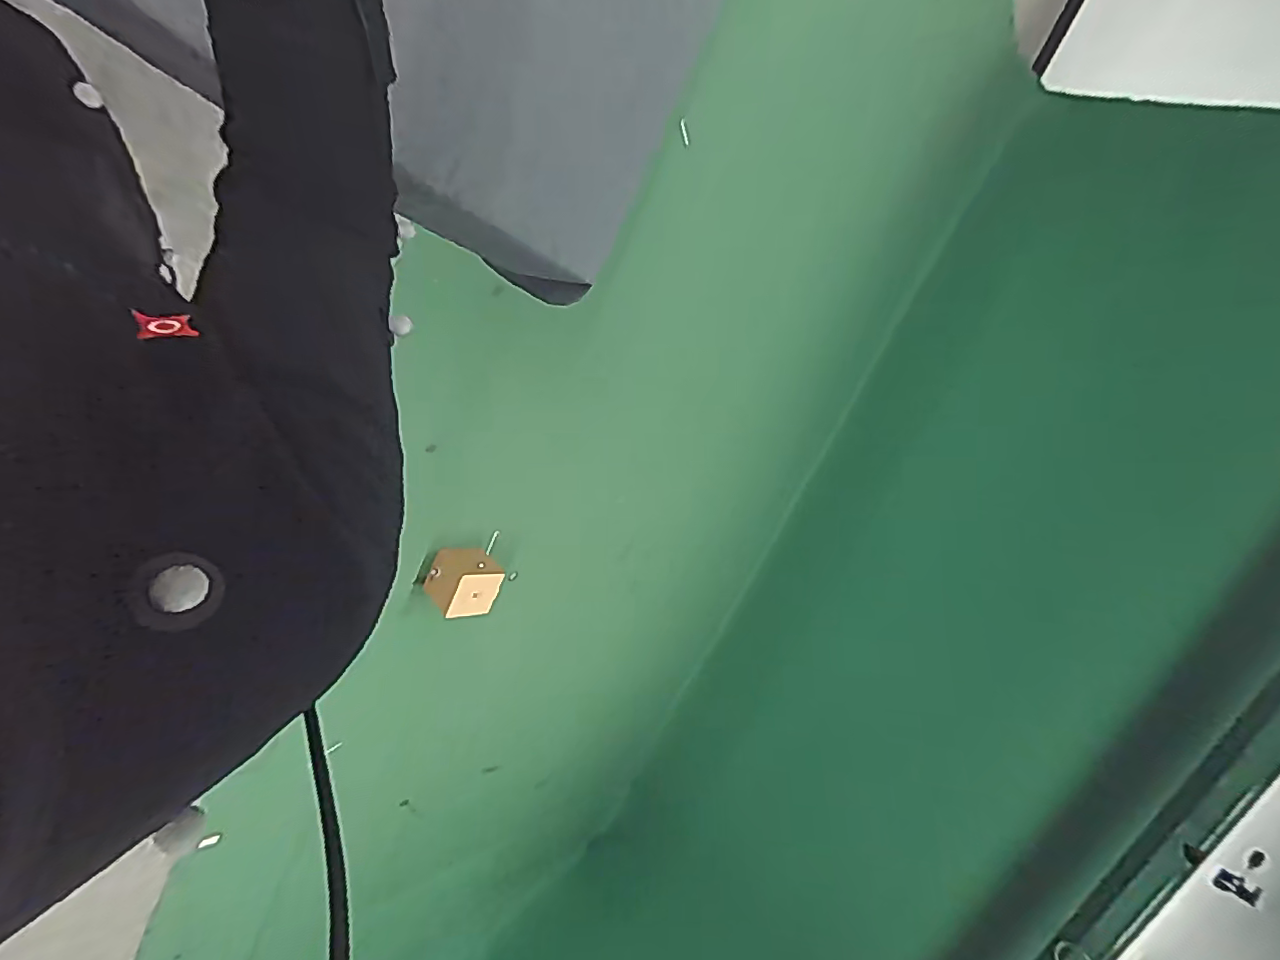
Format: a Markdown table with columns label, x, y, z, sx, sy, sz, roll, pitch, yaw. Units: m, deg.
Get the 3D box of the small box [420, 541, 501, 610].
| label | x | y | z | sx | sy | sz | roll | pitch | yaw |
| --- | --- | --- | --- | --- | --- | --- | --- | --- | --- |
| small box | -0.615 | 0.321 | 1.846 | 0.179 | 0.176 | 0.168 | 9 | 110 | -53 |
